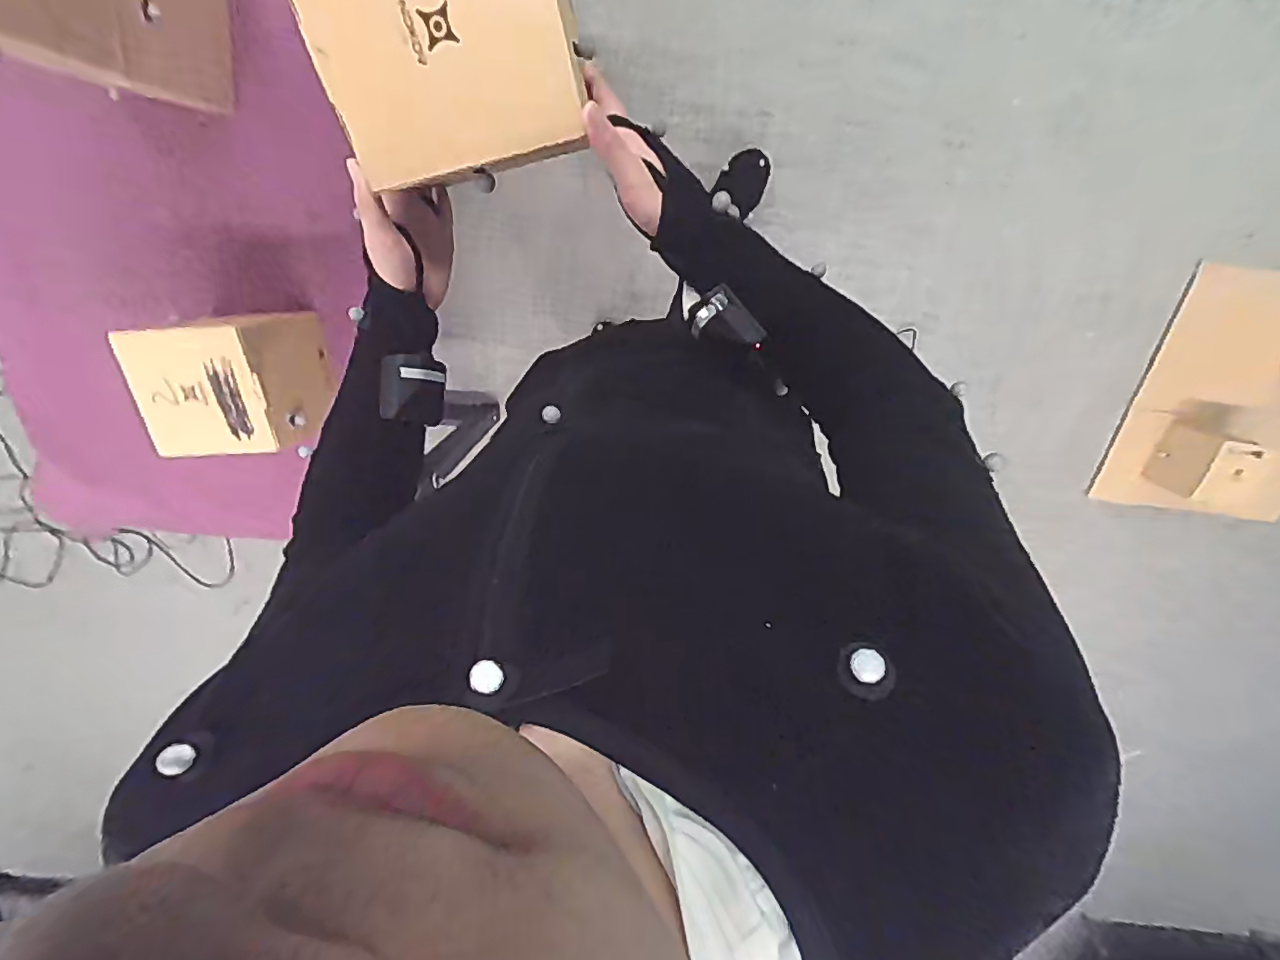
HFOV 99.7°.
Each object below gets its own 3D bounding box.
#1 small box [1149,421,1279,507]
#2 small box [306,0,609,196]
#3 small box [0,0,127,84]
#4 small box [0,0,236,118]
[{"bbox_3d":[1.604,-0.048,1.519,0.168,0.176,0.179,9,113,-2],"label":"small box"},{"bbox_3d":[-0.127,-0.343,0.433,0.179,0.176,0.168,-10,121,9],"label":"small box"},{"bbox_3d":[-0.600,-0.474,0.463,0.168,0.176,0.179,10,113,-3],"label":"small box"},{"bbox_3d":[-0.598,-0.540,0.612,0.168,0.176,0.179,12,112,-3],"label":"small box"}]
